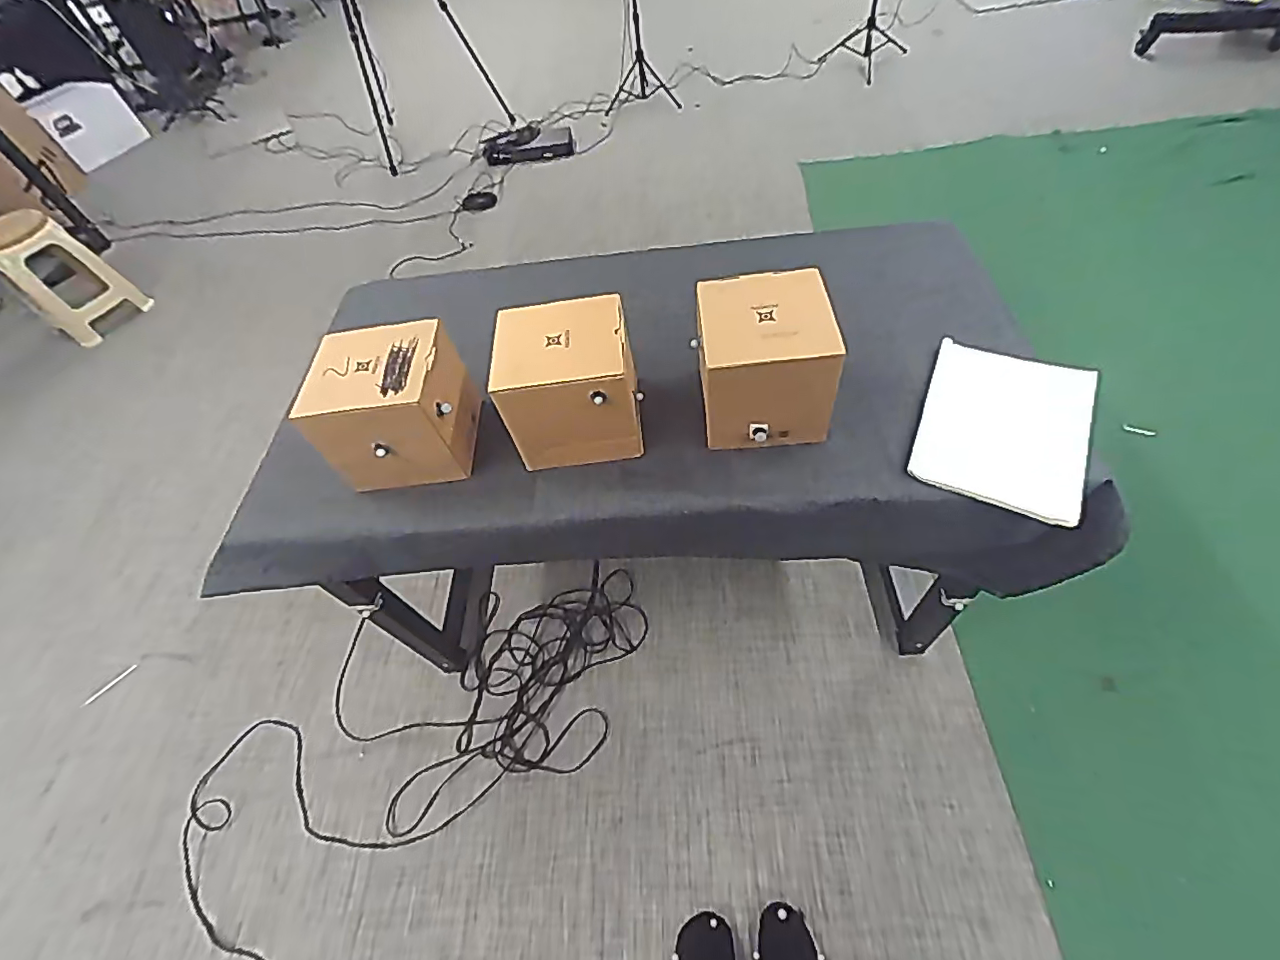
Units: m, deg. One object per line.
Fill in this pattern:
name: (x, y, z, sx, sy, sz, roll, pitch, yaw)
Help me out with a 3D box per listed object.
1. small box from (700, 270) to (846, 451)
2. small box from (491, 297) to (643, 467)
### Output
small box: (0.173, -0.163, 0.758, 0.168, 0.176, 0.179, -6, 55, 6)
small box: (-0.096, -0.135, 0.779, 0.179, 0.176, 0.168, -7, 53, 3)
